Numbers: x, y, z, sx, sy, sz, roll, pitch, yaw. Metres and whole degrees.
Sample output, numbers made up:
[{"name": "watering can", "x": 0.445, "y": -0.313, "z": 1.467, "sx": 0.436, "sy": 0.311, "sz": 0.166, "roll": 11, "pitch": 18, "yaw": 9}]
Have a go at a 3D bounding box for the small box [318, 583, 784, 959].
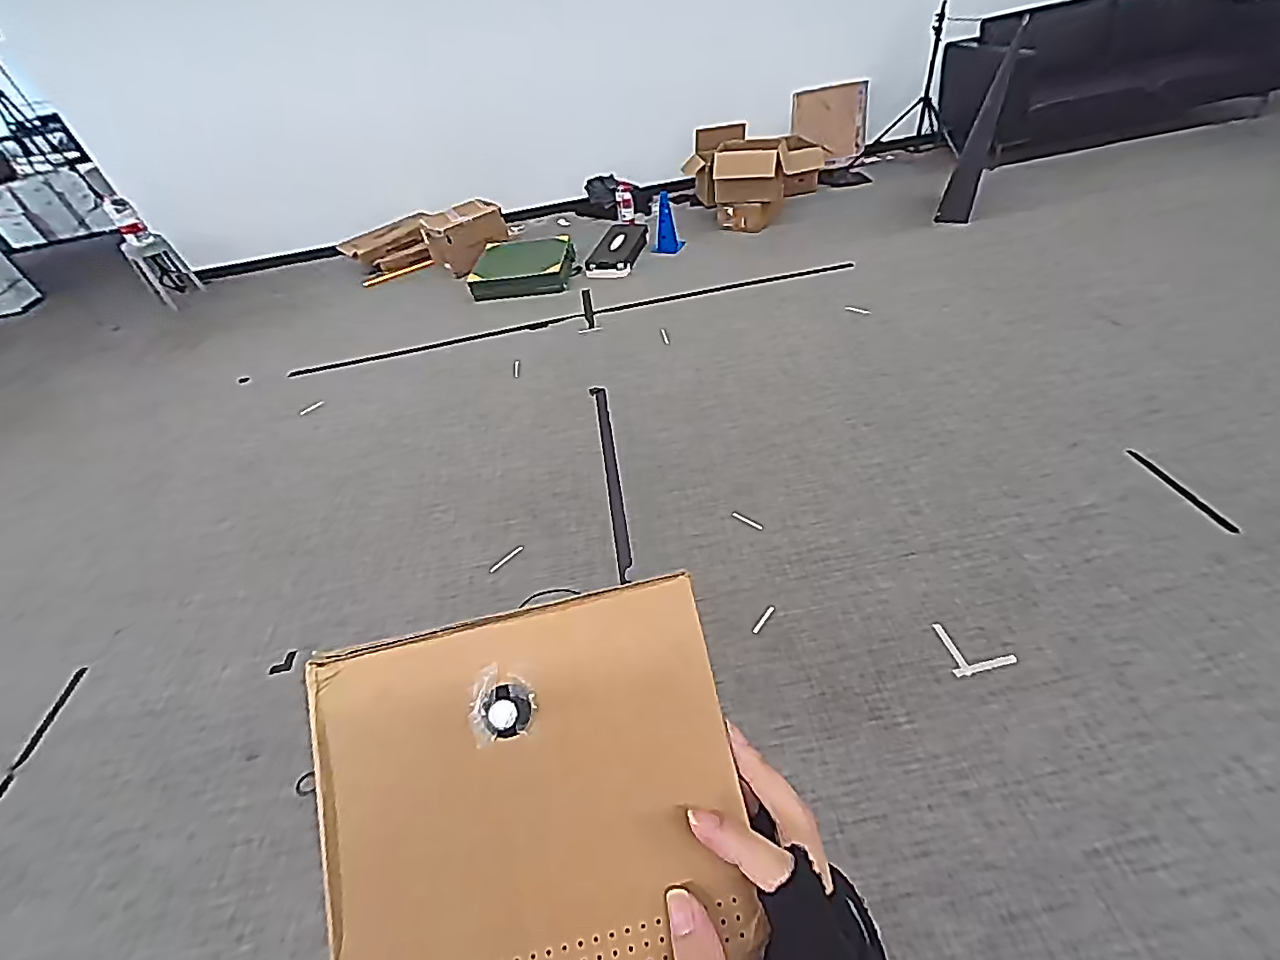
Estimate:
[{"name": "small box", "x": -0.043, "y": 0.163, "z": 0.303, "sx": 0.179, "sy": 0.168, "sz": 0.176, "roll": -12, "pitch": 78, "yaw": -4}]
